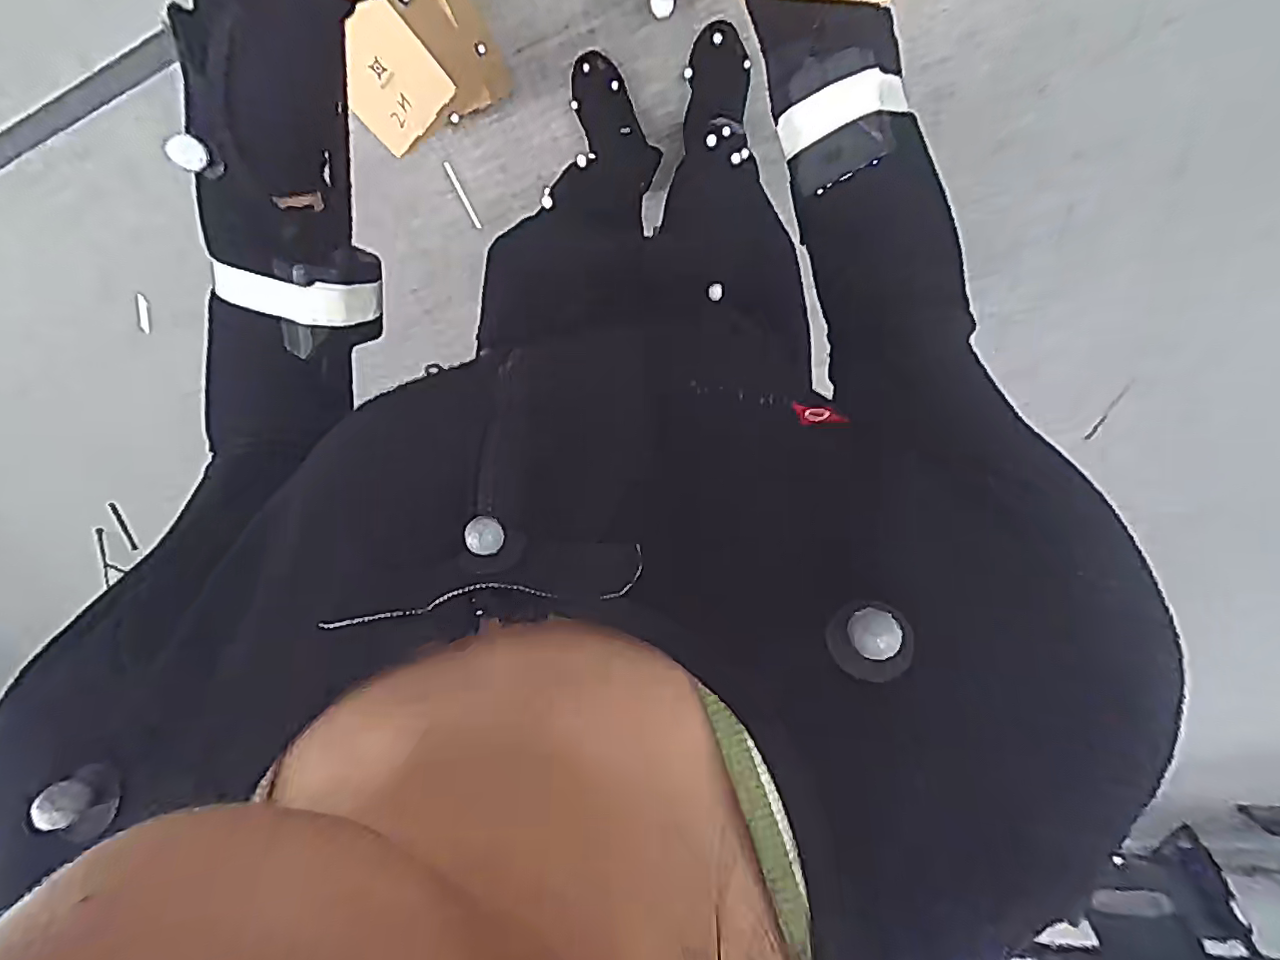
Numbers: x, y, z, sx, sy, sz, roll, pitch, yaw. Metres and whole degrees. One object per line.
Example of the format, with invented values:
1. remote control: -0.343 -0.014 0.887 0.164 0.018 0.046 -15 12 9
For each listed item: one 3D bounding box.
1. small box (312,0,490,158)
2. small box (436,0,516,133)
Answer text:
1. small box: -0.381 -0.683 0.891 0.168 0.176 0.179 -21 131 28
2. small box: -0.356 -0.791 1.013 0.168 0.176 0.179 -11 131 19
